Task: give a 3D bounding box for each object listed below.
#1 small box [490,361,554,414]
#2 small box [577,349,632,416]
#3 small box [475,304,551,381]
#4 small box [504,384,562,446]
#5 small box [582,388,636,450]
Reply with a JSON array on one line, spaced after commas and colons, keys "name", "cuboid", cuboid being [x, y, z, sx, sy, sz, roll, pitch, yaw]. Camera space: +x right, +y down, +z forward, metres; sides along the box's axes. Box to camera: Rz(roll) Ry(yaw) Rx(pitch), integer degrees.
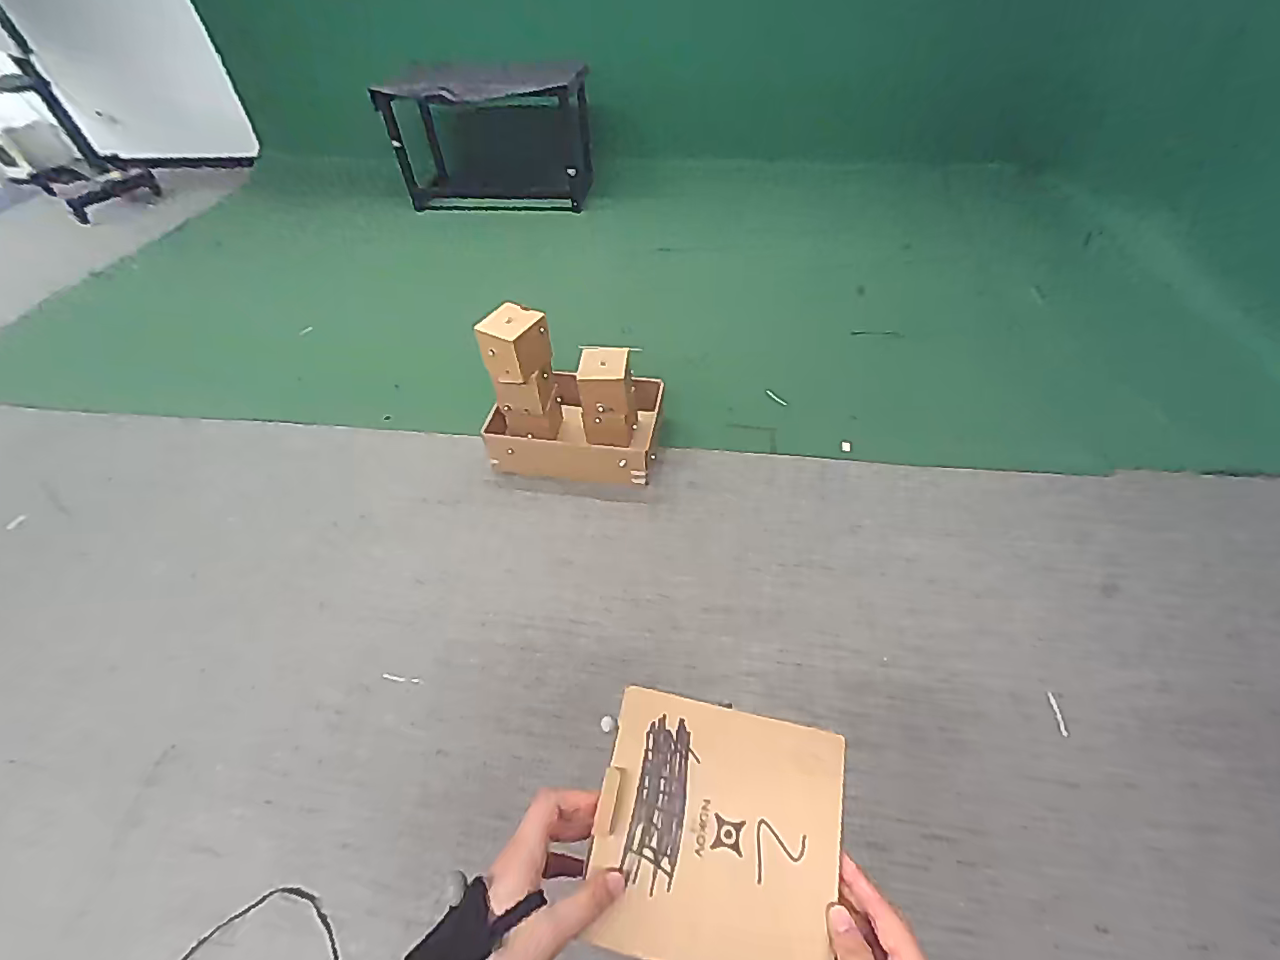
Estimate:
[{"name": "small box", "cuboid": [-0.415, -0.355, 1.941, 0.168, 0.176, 0.179, 6, 48, 7]}, {"name": "small box", "cuboid": [-0.120, -0.345, 1.923, 0.168, 0.176, 0.179, 0, 50, 6]}, {"name": "small box", "cuboid": [-0.418, -0.458, 1.815, 0.168, 0.176, 0.179, 23, 52, 21]}, {"name": "small box", "cuboid": [-0.402, -0.253, 2.069, 0.168, 0.176, 0.179, 4, 49, 6]}, {"name": "small box", "cuboid": [-0.111, -0.238, 2.046, 0.168, 0.176, 0.179, 8, 49, 11]}]
